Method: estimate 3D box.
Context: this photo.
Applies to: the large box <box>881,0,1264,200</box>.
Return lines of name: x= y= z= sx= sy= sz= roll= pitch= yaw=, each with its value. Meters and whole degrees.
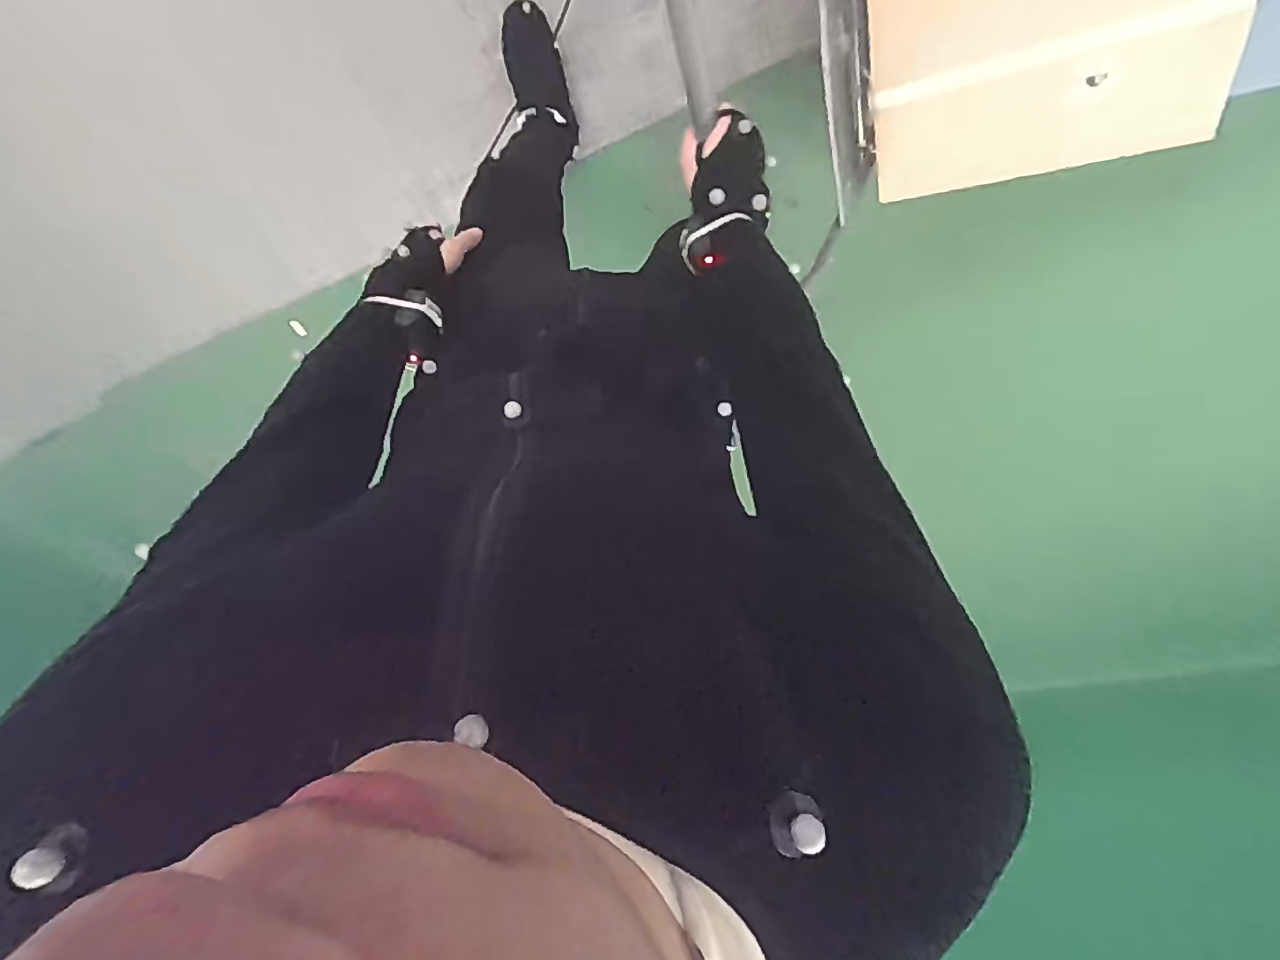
large box: x=0.589 y=-0.669 z=0.795 sx=0.408 sy=0.320 sz=0.320 roll=3 pitch=138 yaw=29
